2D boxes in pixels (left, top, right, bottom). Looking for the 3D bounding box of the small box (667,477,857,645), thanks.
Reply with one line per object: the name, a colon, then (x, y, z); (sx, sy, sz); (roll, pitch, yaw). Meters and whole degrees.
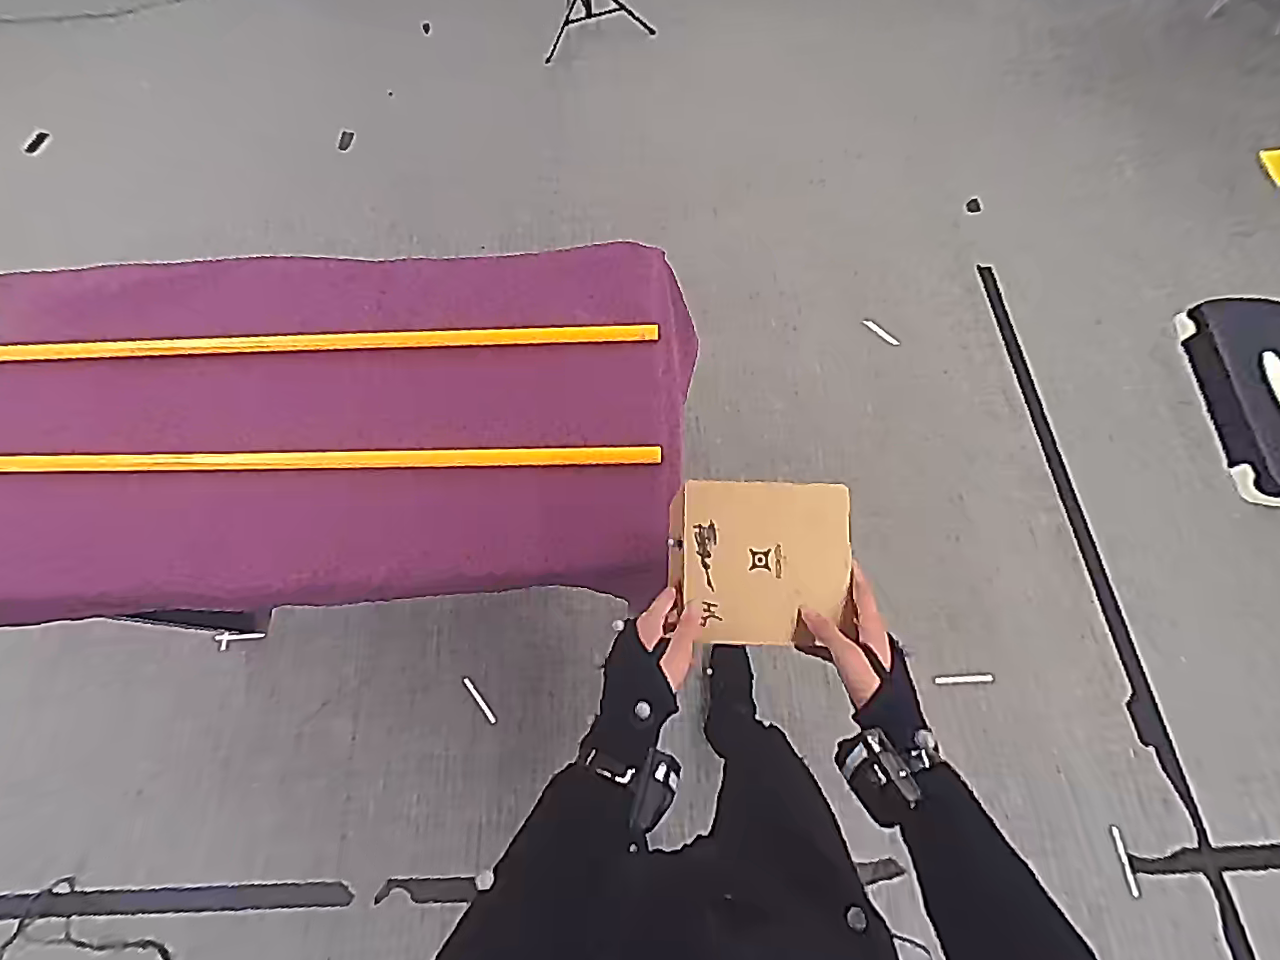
small box: (0.128, 0.093, 0.625); (0.179, 0.176, 0.168); (2, 80, -2)
